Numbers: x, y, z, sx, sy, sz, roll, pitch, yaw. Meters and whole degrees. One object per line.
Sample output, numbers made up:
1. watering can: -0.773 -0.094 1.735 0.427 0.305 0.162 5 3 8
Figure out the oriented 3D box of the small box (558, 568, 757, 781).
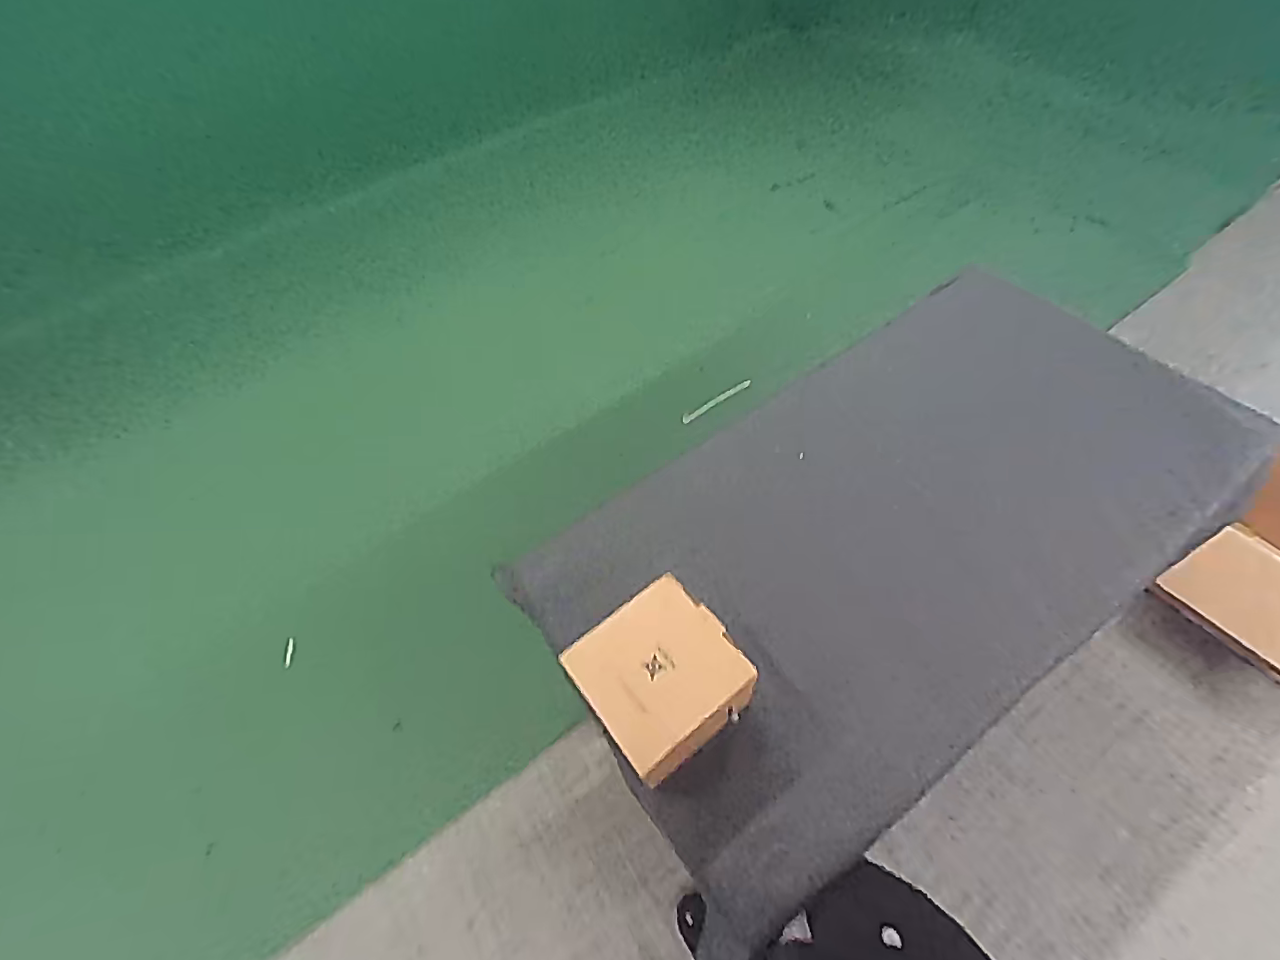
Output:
1. small box: 0.023 0.251 0.690 0.179 0.176 0.168 -36 60 -16
